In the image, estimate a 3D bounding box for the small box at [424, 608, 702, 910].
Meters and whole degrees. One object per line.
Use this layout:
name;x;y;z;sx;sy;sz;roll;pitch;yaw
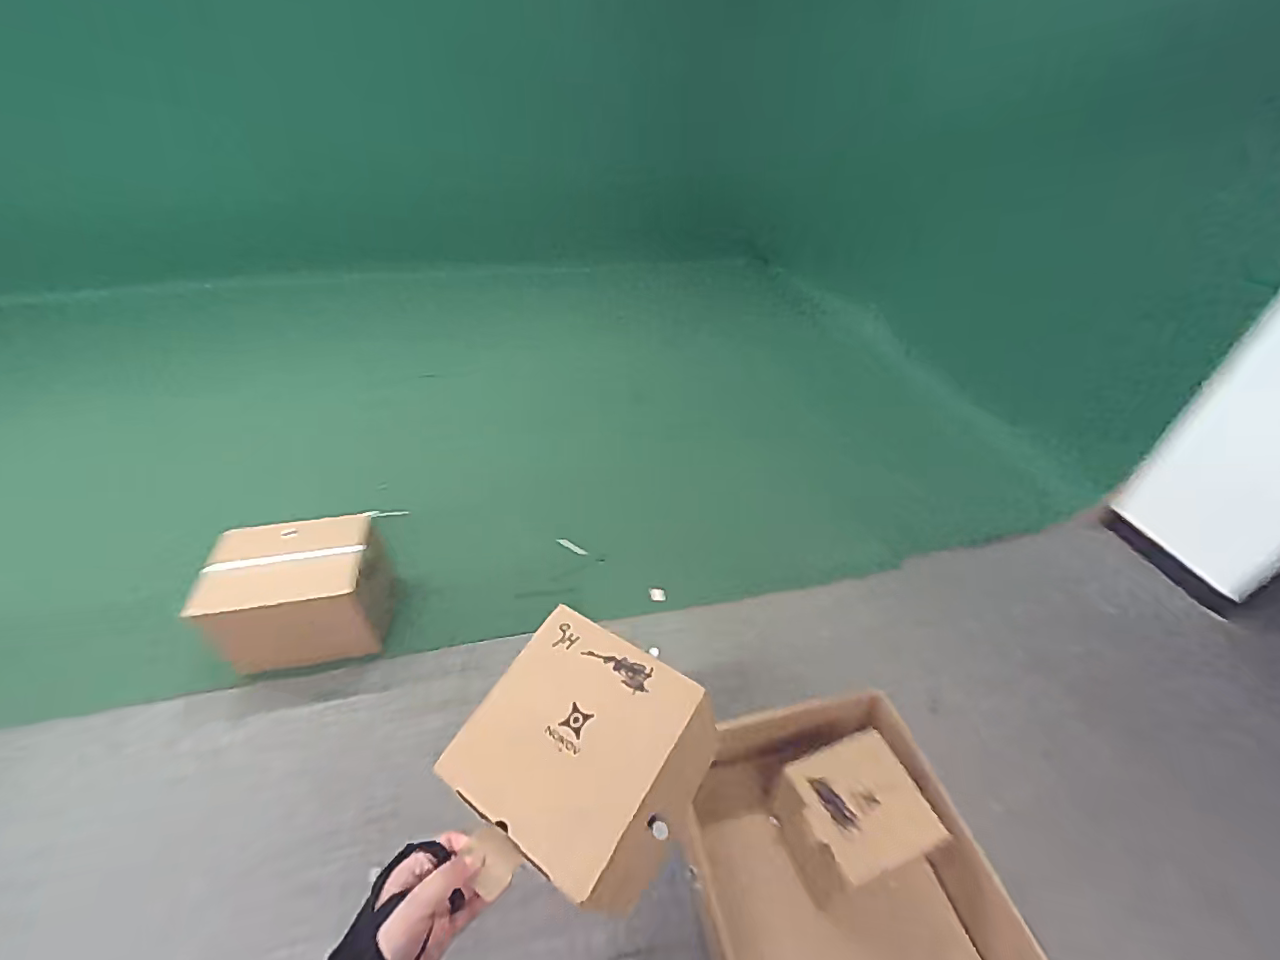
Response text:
small box;-0.053;0.259;0.506;0.168;0.176;0.179;21;59;28
